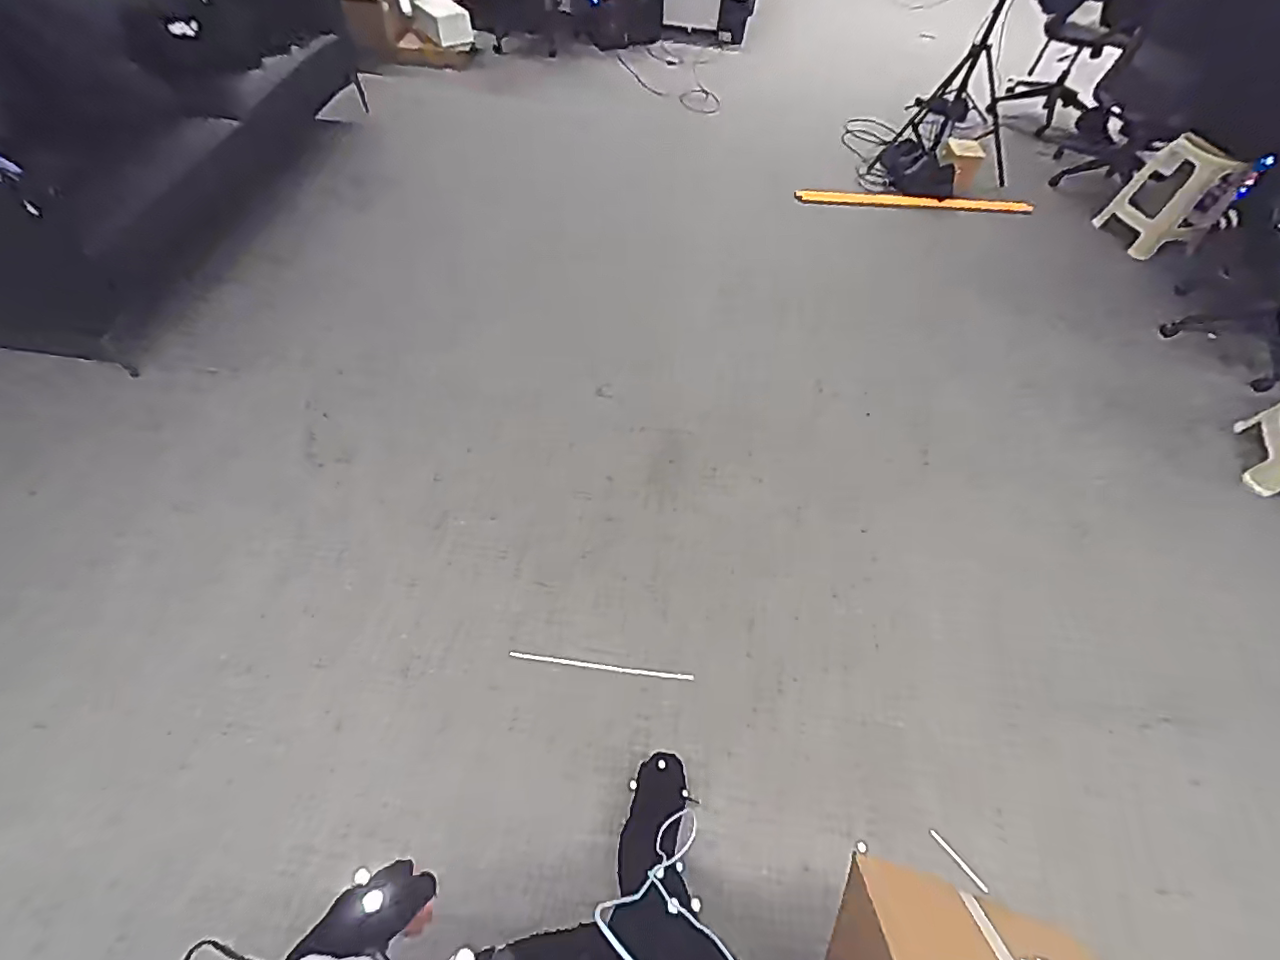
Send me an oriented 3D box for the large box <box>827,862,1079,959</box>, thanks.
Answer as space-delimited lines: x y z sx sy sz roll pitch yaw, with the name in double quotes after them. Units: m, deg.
0.399 0.756 0.606 0.320 0.408 0.320 16 89 10 "large box"
